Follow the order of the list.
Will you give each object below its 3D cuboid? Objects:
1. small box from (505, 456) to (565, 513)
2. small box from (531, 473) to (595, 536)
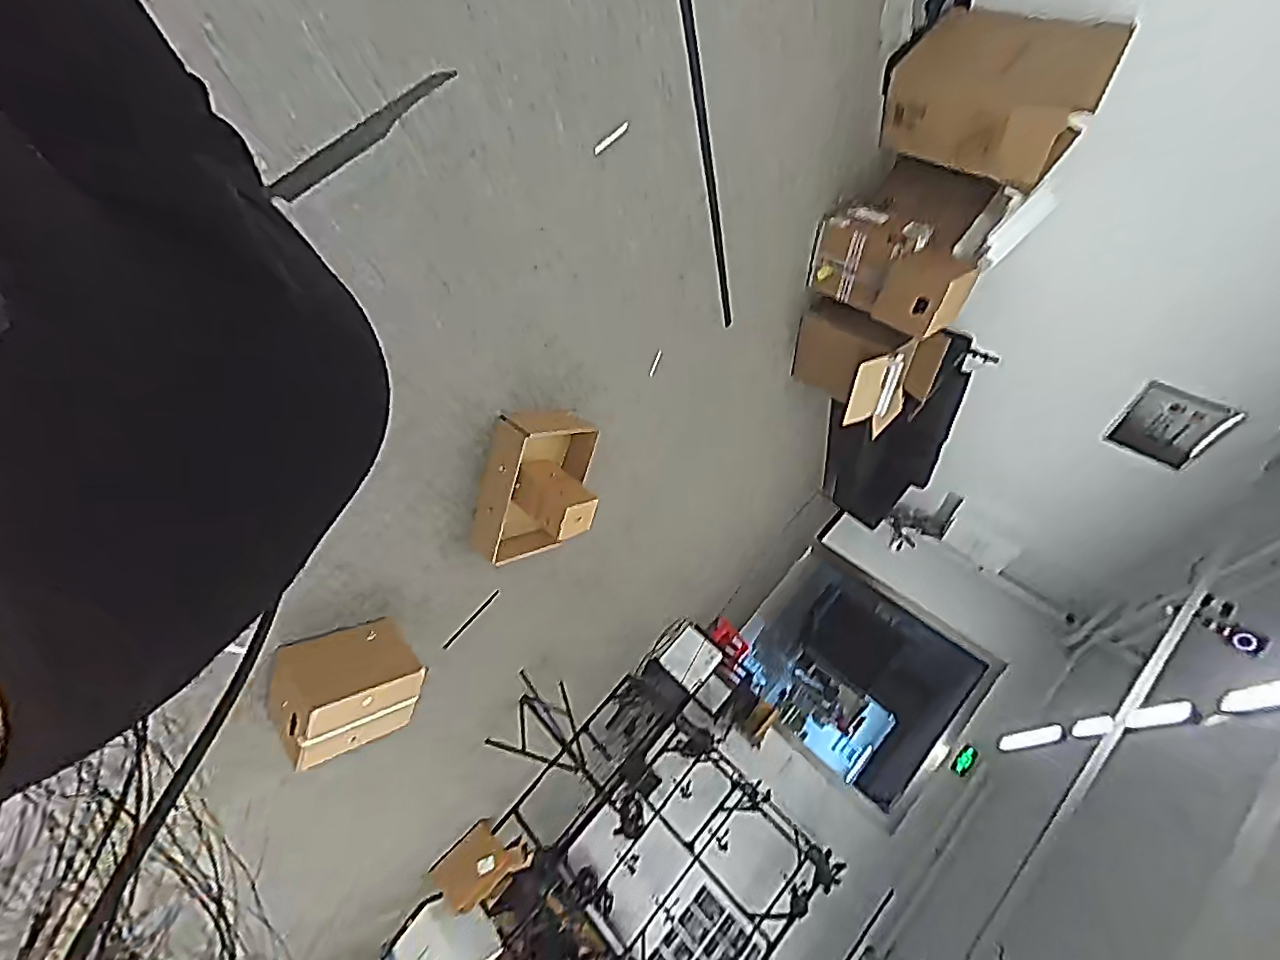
[{"bbox_3d":[-0.431,0.013,2.256,0.179,0.176,0.168,-13,132,-49],"label":"small box"},{"bbox_3d":[-0.314,0.093,2.177,0.179,0.176,0.168,-19,138,-47],"label":"small box"}]
